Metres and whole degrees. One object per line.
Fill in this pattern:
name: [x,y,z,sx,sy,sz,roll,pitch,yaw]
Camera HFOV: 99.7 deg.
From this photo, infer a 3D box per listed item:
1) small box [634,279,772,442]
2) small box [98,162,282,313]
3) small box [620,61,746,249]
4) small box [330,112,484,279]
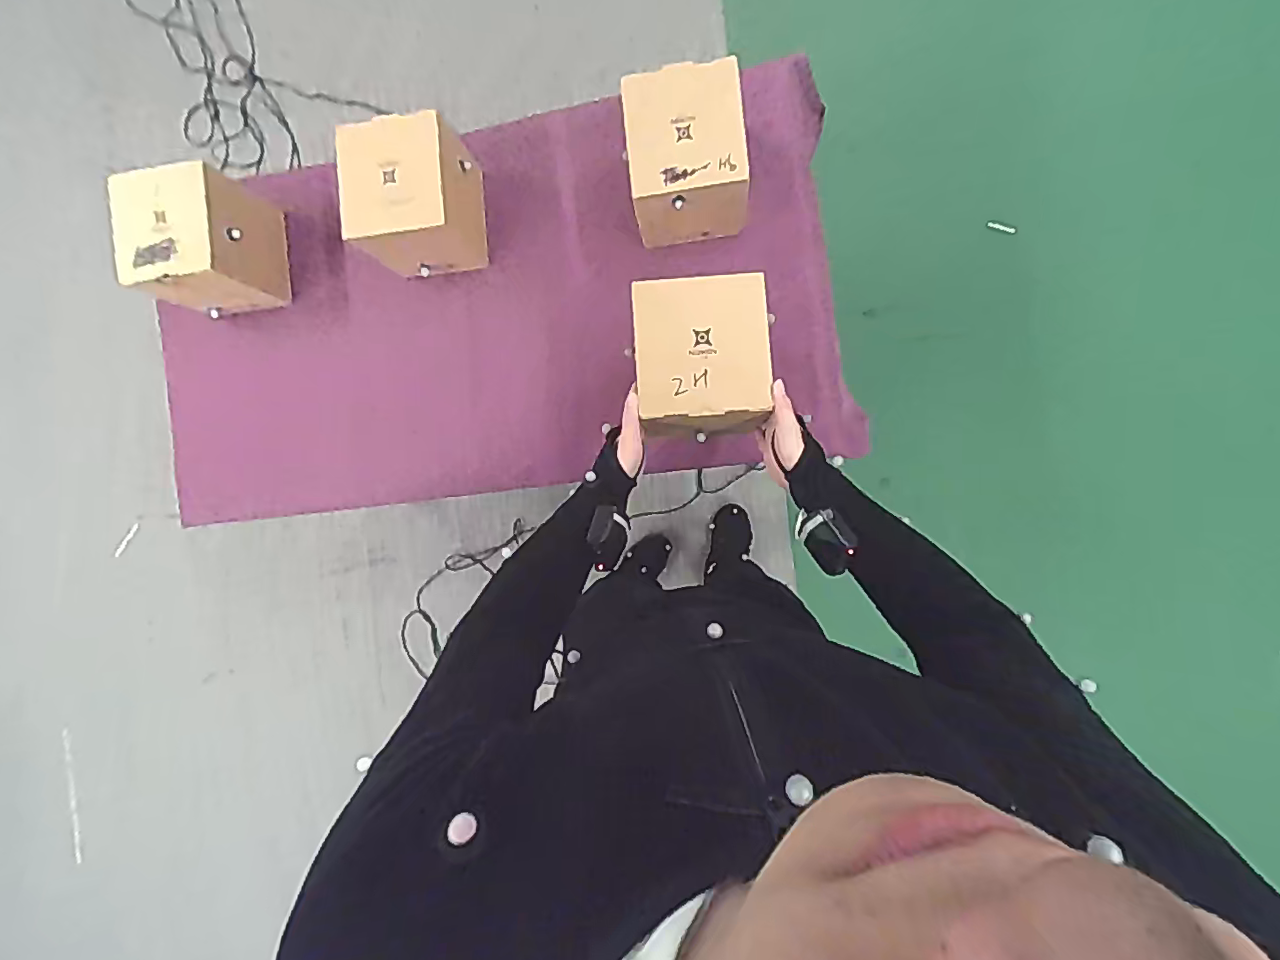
small box: [0.078,-0.154,0.743,0.168,0.176,0.179,-3,86,2]
small box: [-0.738,-0.391,0.906,0.168,0.176,0.179,-6,91,5]
small box: [0.066,-0.485,0.831,0.168,0.176,0.179,-6,90,6]
small box: [-0.366,-0.447,0.874,0.168,0.176,0.179,-4,91,6]
